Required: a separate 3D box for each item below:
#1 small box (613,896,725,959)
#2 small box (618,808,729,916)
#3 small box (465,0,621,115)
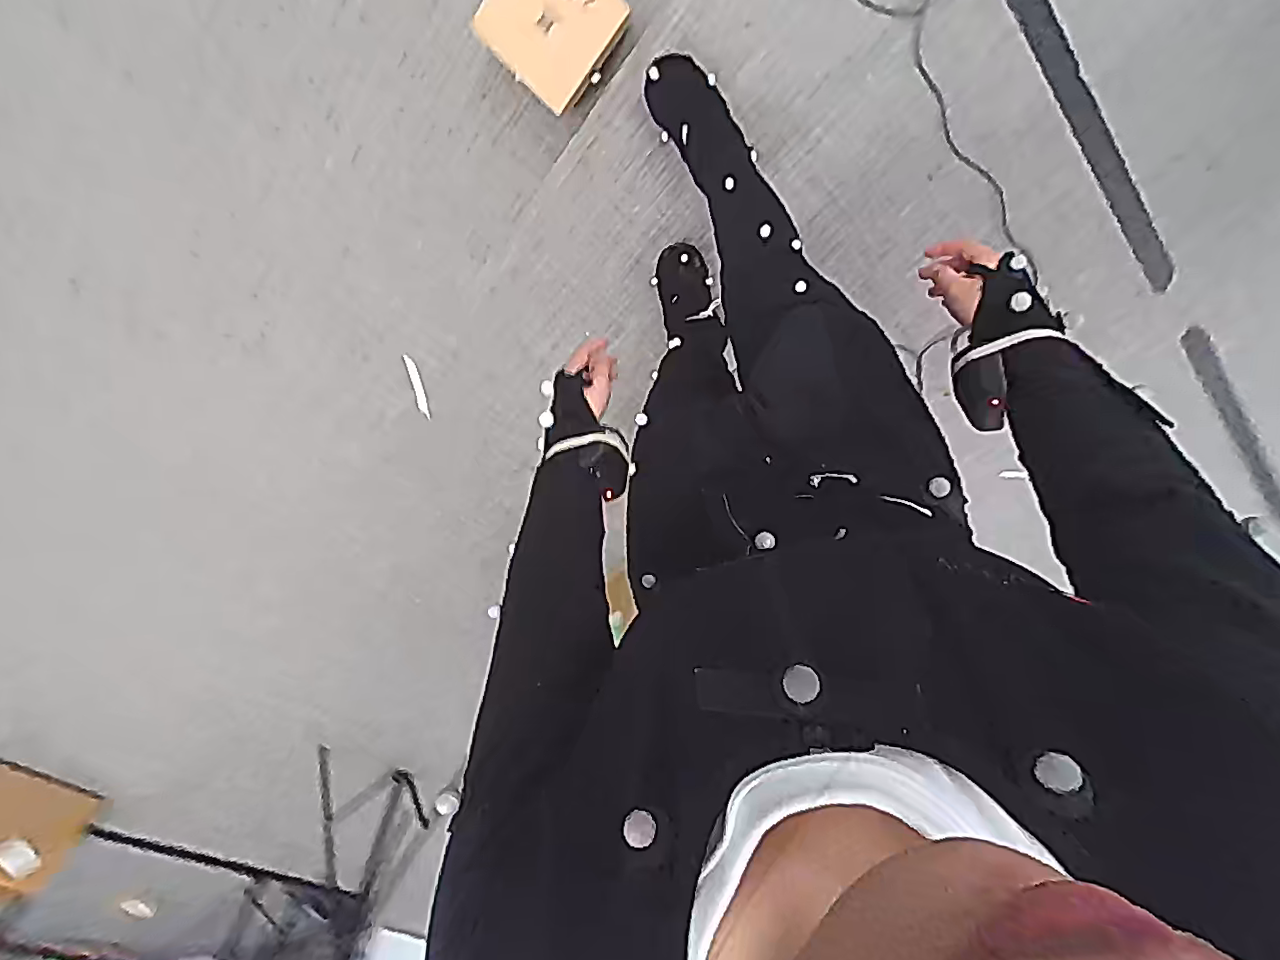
[{"bbox_3d":[0.057,0.953,1.058,0.168,0.176,0.179,38,115,-25],"label":"small box"},{"bbox_3d":[0.067,0.854,1.190,0.179,0.176,0.168,38,116,-25],"label":"small box"},{"bbox_3d":[-0.141,-0.715,0.849,0.168,0.176,0.179,36,117,-24],"label":"small box"}]
